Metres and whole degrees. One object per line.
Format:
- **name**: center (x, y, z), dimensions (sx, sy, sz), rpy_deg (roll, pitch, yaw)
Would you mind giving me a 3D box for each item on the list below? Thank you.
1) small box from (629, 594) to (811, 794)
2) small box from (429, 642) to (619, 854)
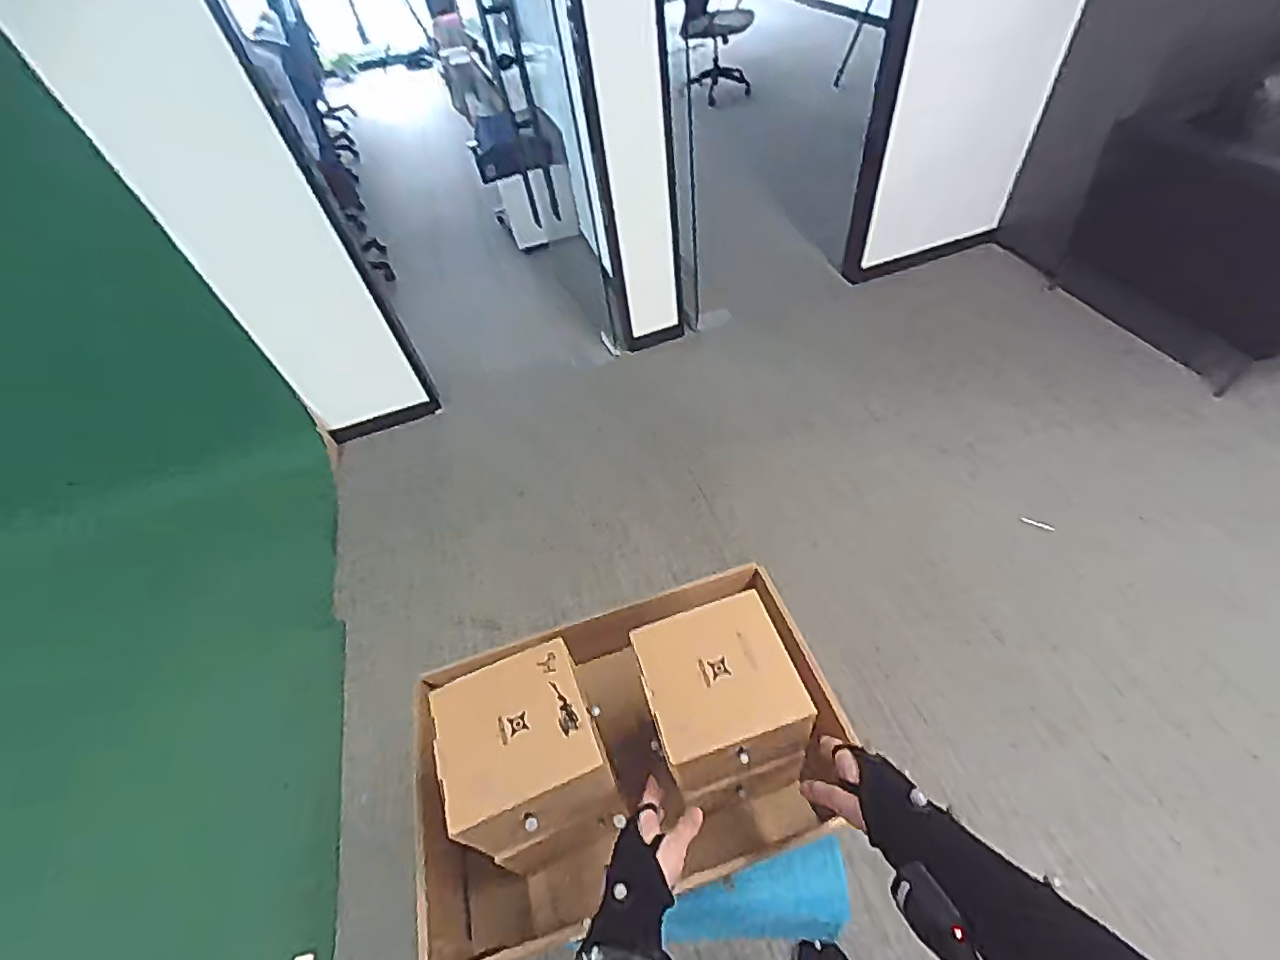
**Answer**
- **small box**: center (0.100, 0.281, 0.699), dimensions (0.179, 0.176, 0.168), rpy_deg (-17, 49, -5)
- **small box**: center (-0.142, 0.343, 0.687), dimensions (0.179, 0.176, 0.168), rpy_deg (-21, 50, -10)
